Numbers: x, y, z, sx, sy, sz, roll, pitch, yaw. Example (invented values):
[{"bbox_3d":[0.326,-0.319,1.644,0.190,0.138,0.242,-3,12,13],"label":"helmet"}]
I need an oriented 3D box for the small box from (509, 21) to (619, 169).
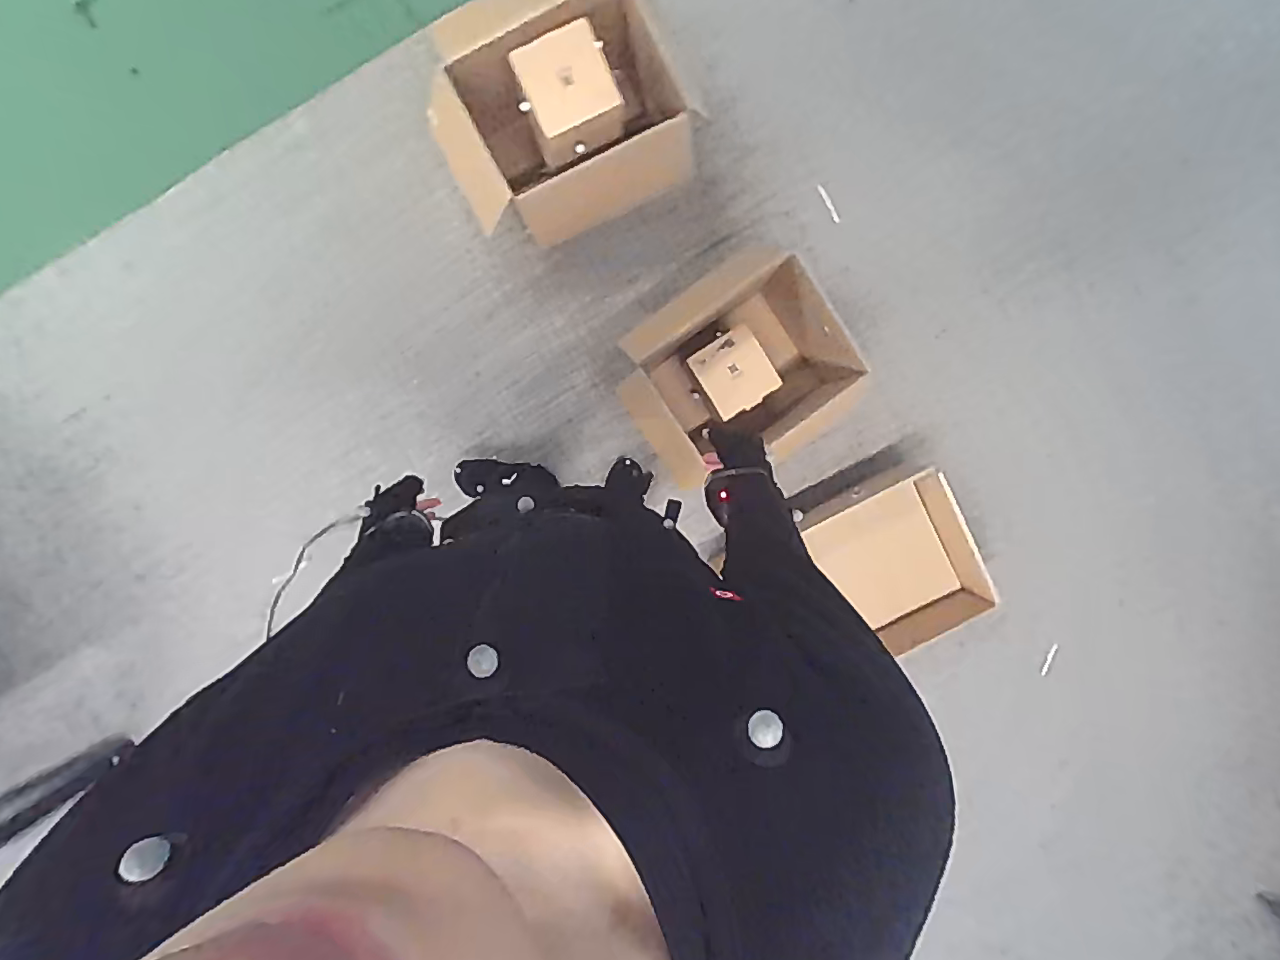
[{"bbox_3d":[-0.150,-0.792,1.140,0.168,0.176,0.179,-26,96,0],"label":"small box"}]
